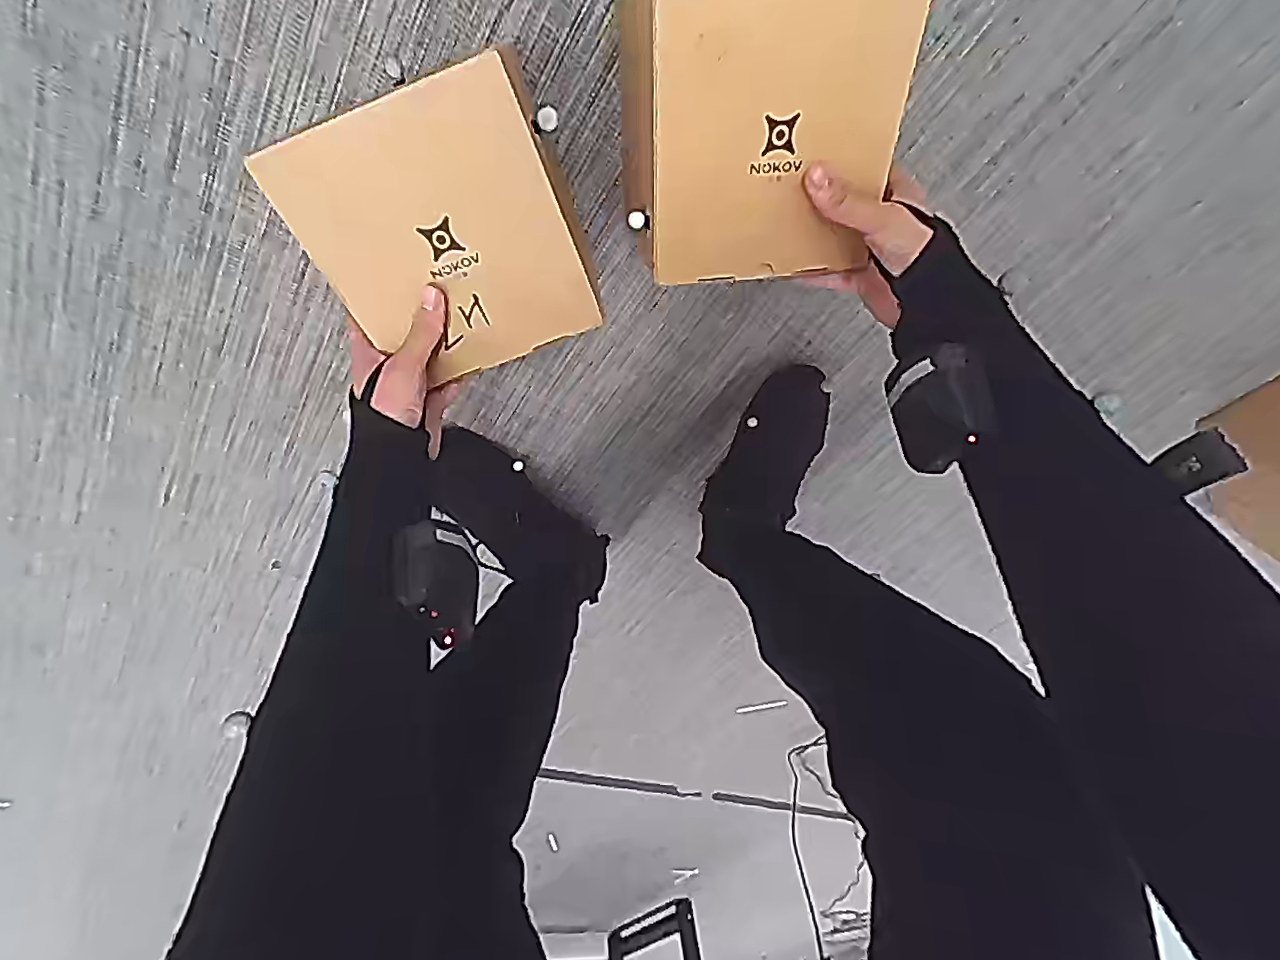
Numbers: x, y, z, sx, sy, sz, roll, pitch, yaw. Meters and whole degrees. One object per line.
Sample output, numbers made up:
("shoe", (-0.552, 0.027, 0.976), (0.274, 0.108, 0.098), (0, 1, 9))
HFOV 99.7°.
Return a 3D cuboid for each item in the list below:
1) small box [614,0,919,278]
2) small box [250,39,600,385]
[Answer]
("small box", (0.073, -0.276, 0.414), (0.168, 0.176, 0.179), (-7, 131, -5))
("small box", (-0.142, -0.211, 0.426), (0.168, 0.176, 0.179), (-19, 131, 6))
